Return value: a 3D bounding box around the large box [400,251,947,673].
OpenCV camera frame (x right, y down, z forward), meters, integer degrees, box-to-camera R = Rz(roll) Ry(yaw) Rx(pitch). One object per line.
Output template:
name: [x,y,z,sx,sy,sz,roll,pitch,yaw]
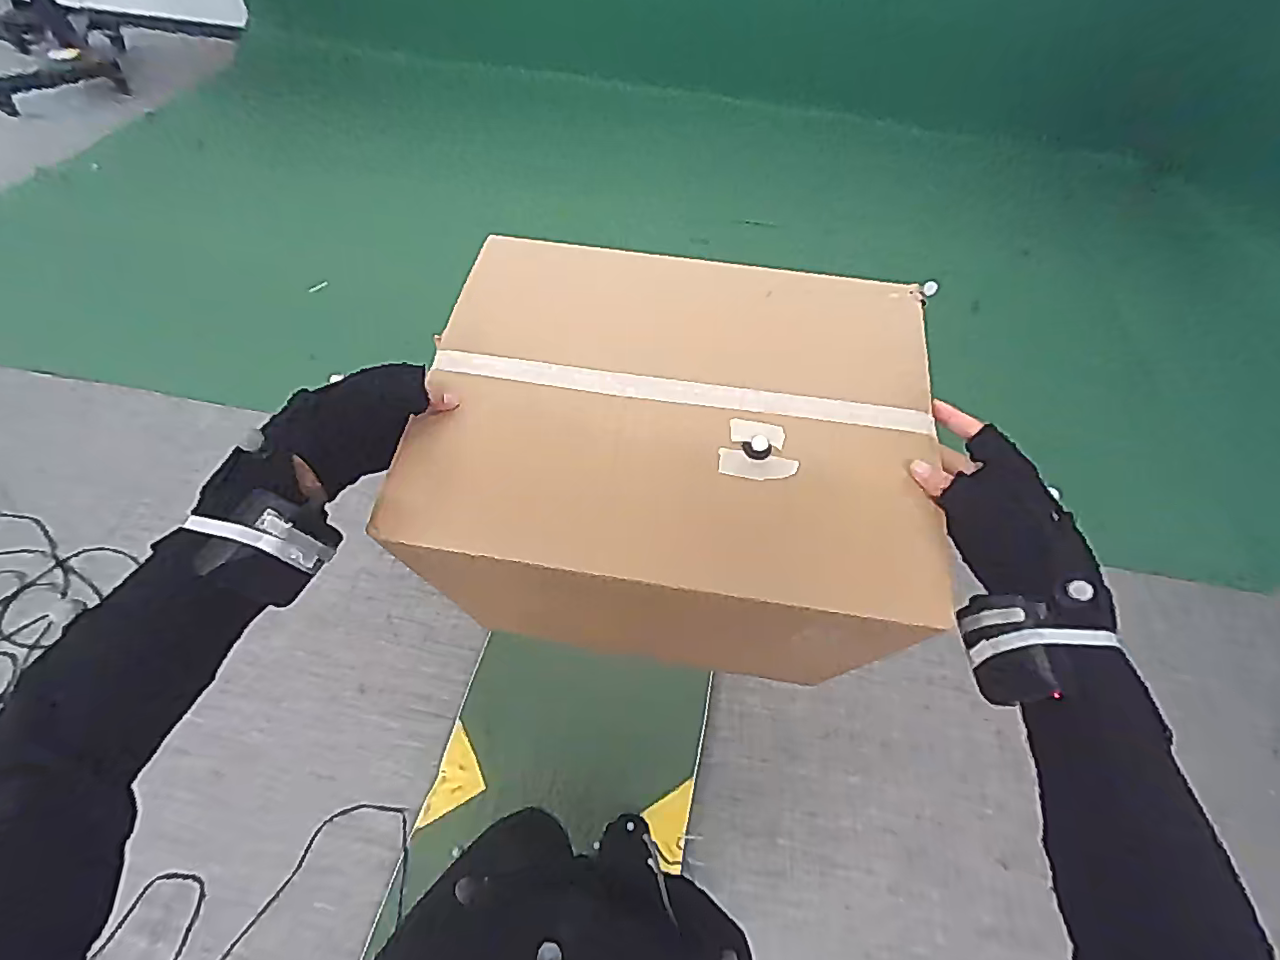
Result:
large box: [0.035,0.001,0.583,0.408,0.320,0.320,8,63,3]
